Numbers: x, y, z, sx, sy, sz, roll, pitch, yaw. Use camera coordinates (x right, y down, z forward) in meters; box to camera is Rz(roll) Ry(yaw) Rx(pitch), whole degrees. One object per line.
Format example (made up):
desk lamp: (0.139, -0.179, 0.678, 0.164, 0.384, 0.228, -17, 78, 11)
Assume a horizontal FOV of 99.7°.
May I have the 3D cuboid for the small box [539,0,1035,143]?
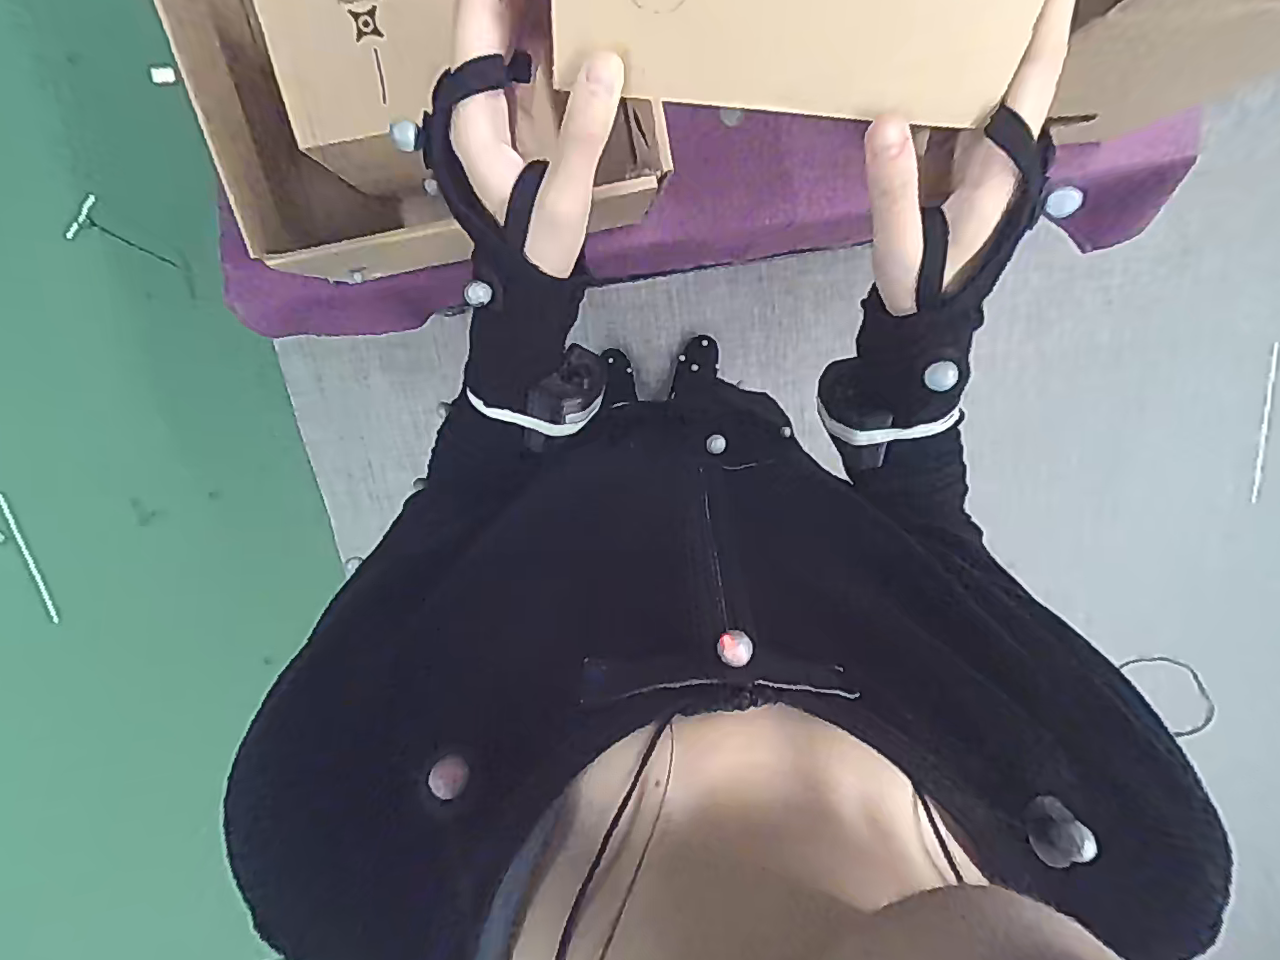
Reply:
small box: (0.058, -0.259, 0.212, 0.179, 0.176, 0.168, 4, 138, -3)
